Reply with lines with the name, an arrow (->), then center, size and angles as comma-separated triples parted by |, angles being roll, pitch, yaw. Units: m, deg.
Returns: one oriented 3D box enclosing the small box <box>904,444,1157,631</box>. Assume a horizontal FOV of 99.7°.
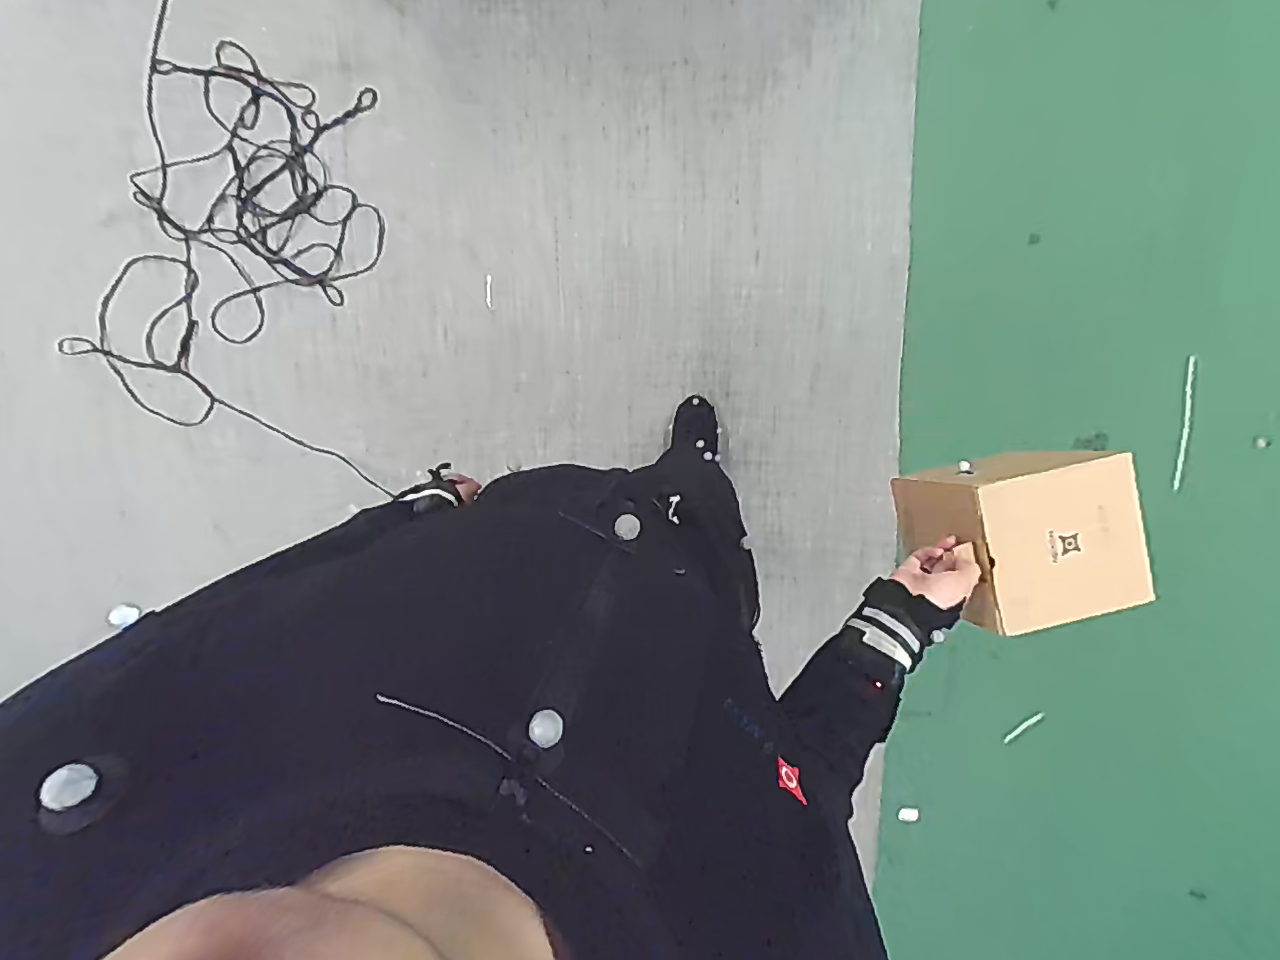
small box -> 0.441, 0.057, 0.643 | 0.179, 0.176, 0.168 | -14, 94, -4
